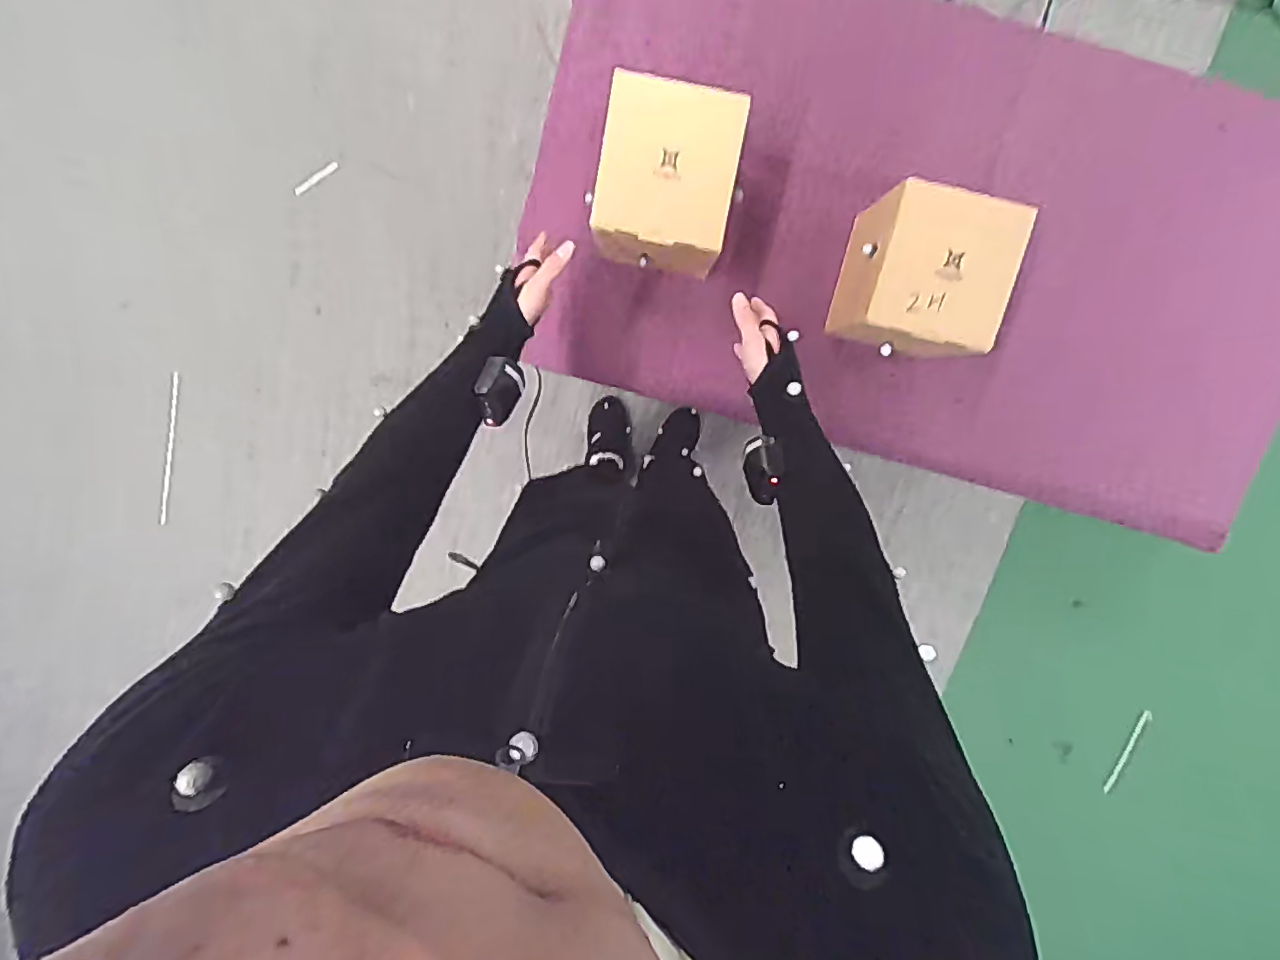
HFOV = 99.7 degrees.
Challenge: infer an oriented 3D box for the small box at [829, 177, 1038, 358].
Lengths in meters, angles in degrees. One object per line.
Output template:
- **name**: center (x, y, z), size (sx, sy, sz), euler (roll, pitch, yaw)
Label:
- **small box**: center (0.378, -0.273, 0.735), size (0.168, 0.176, 0.179), euler (13, 100, -1)

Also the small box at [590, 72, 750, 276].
- **small box**: center (0.034, -0.388, 0.720), size (0.168, 0.176, 0.179), euler (10, 101, -2)
